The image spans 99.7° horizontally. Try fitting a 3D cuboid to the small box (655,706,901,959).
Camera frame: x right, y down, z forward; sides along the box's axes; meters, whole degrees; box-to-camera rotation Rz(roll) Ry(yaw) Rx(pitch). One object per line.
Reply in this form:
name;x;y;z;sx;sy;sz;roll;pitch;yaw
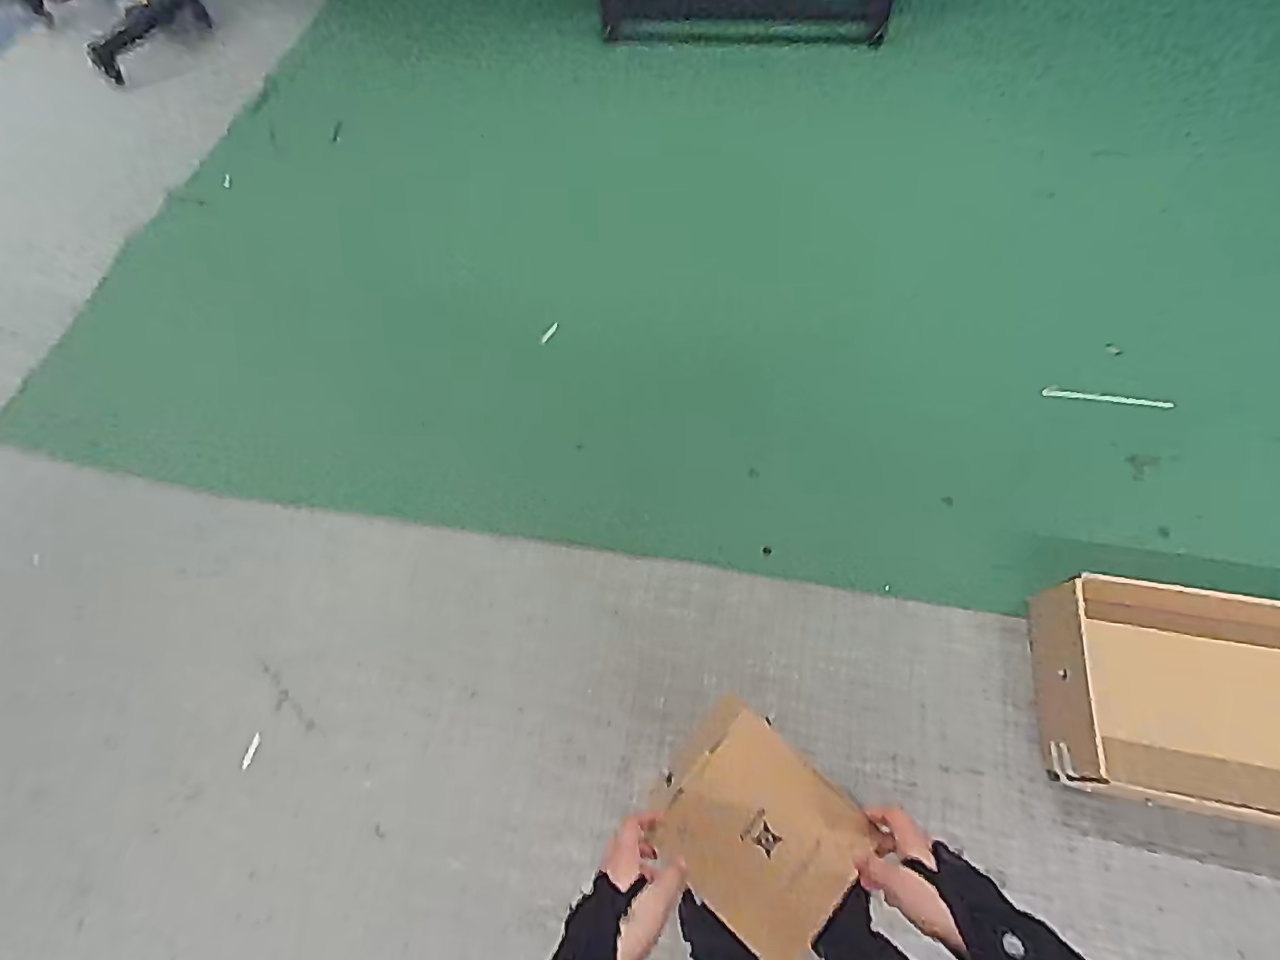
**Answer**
small box;0.132;0.372;0.589;0.179;0.176;0.168;41;80;11
